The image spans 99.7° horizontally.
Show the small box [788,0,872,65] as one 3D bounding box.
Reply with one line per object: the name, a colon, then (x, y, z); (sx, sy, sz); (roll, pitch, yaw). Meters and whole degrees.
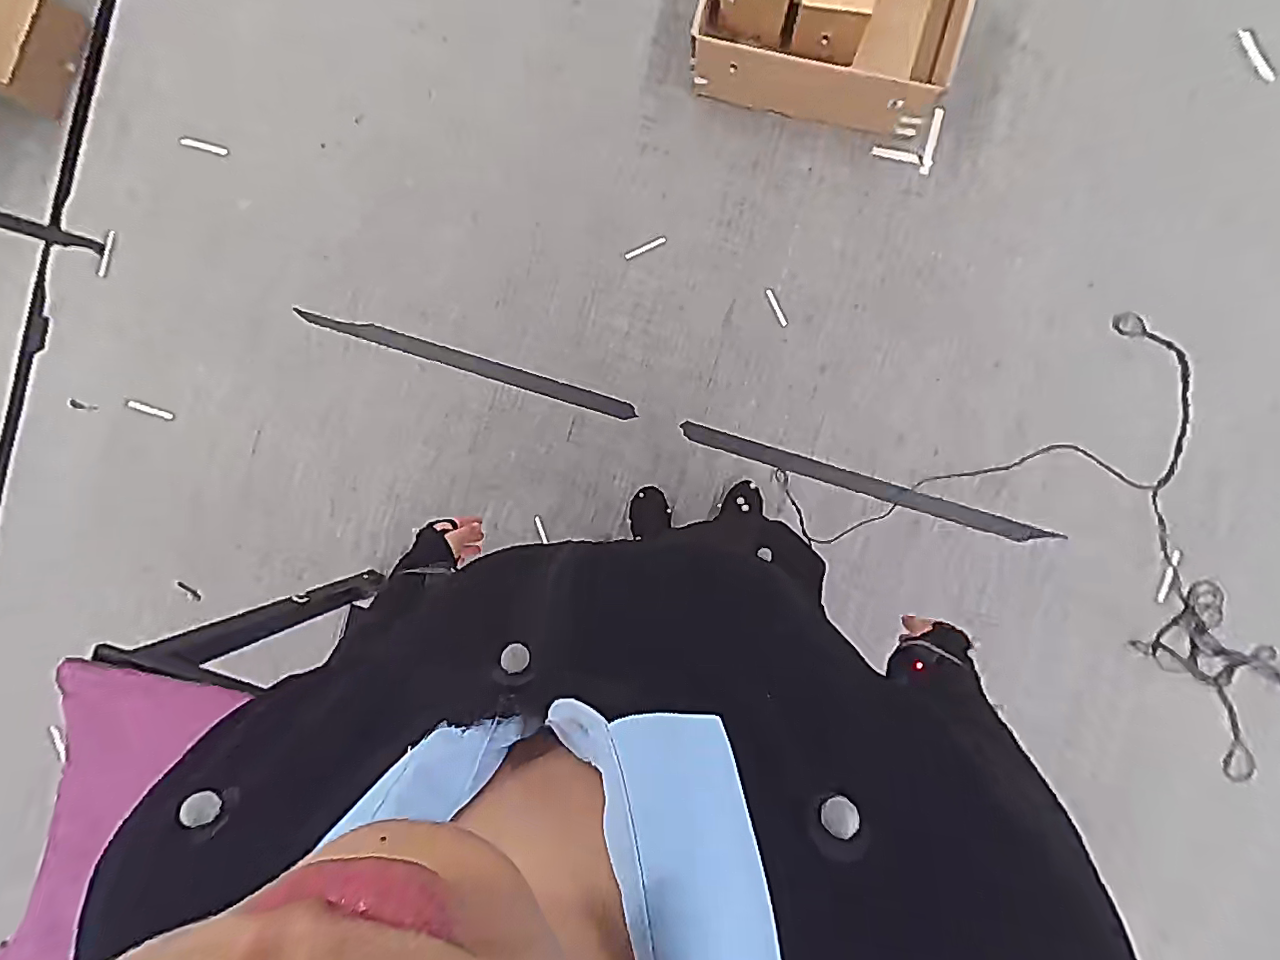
small box: (0.469, -1.163, 1.318); (0.168, 0.176, 0.179); (12, 92, 4)
